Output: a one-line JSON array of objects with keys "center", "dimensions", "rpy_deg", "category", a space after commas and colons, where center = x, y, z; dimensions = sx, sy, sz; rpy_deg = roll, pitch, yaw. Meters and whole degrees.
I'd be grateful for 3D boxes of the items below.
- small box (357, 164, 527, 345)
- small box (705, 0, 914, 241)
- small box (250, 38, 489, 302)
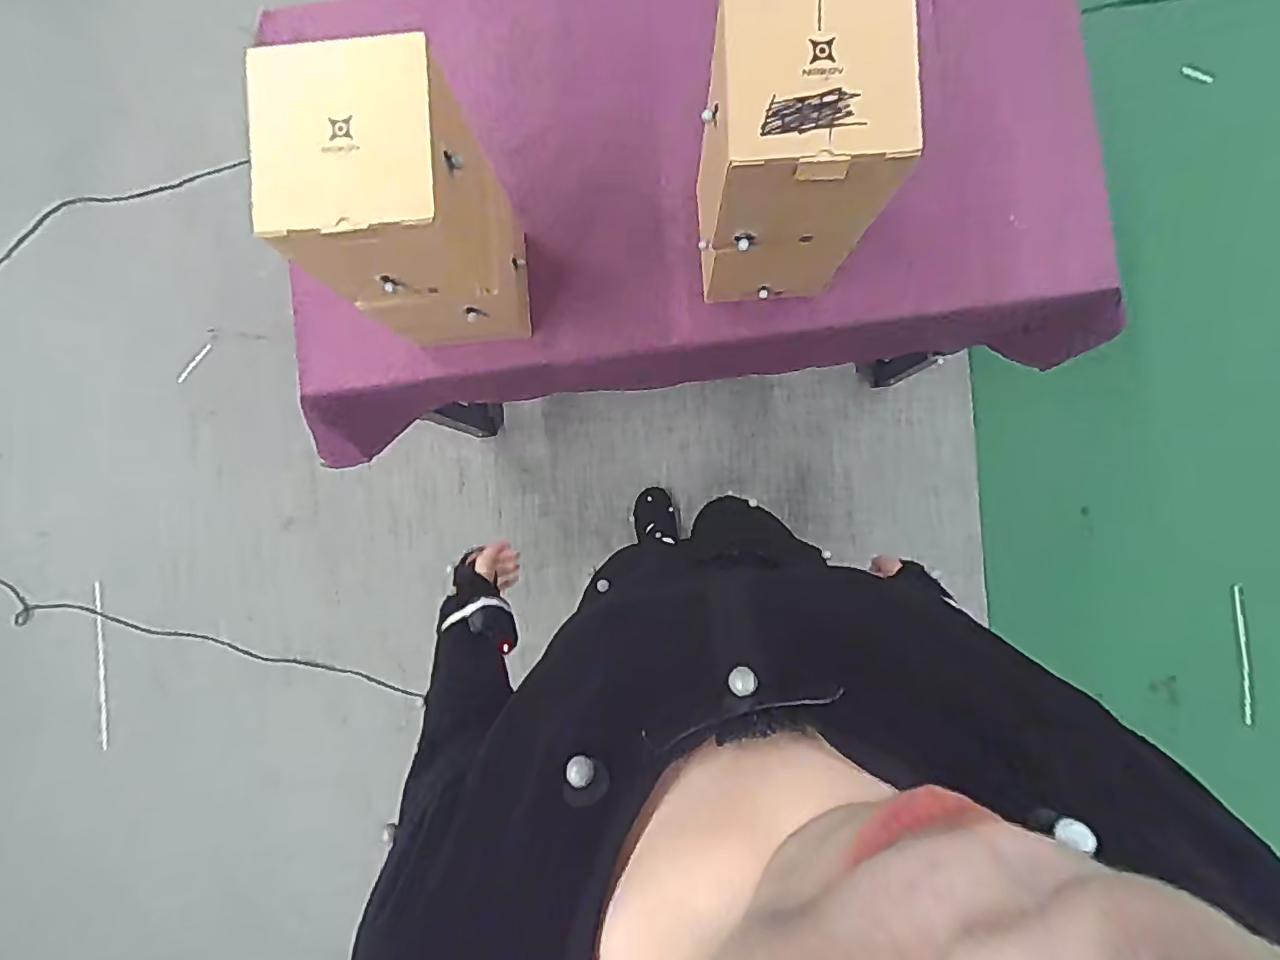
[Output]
[{"center": [-0.255, -0.290, 0.729], "dimensions": [0.179, 0.176, 0.168], "rpy_deg": [-5, 87, 3], "category": "small box"}, {"center": [0.155, -0.358, 0.546], "dimensions": [0.168, 0.176, 0.179], "rpy_deg": [-2, 87, 3], "category": "small box"}, {"center": [-0.266, -0.306, 0.567], "dimensions": [0.168, 0.176, 0.179], "rpy_deg": [-4, 88, 2], "category": "small box"}]
